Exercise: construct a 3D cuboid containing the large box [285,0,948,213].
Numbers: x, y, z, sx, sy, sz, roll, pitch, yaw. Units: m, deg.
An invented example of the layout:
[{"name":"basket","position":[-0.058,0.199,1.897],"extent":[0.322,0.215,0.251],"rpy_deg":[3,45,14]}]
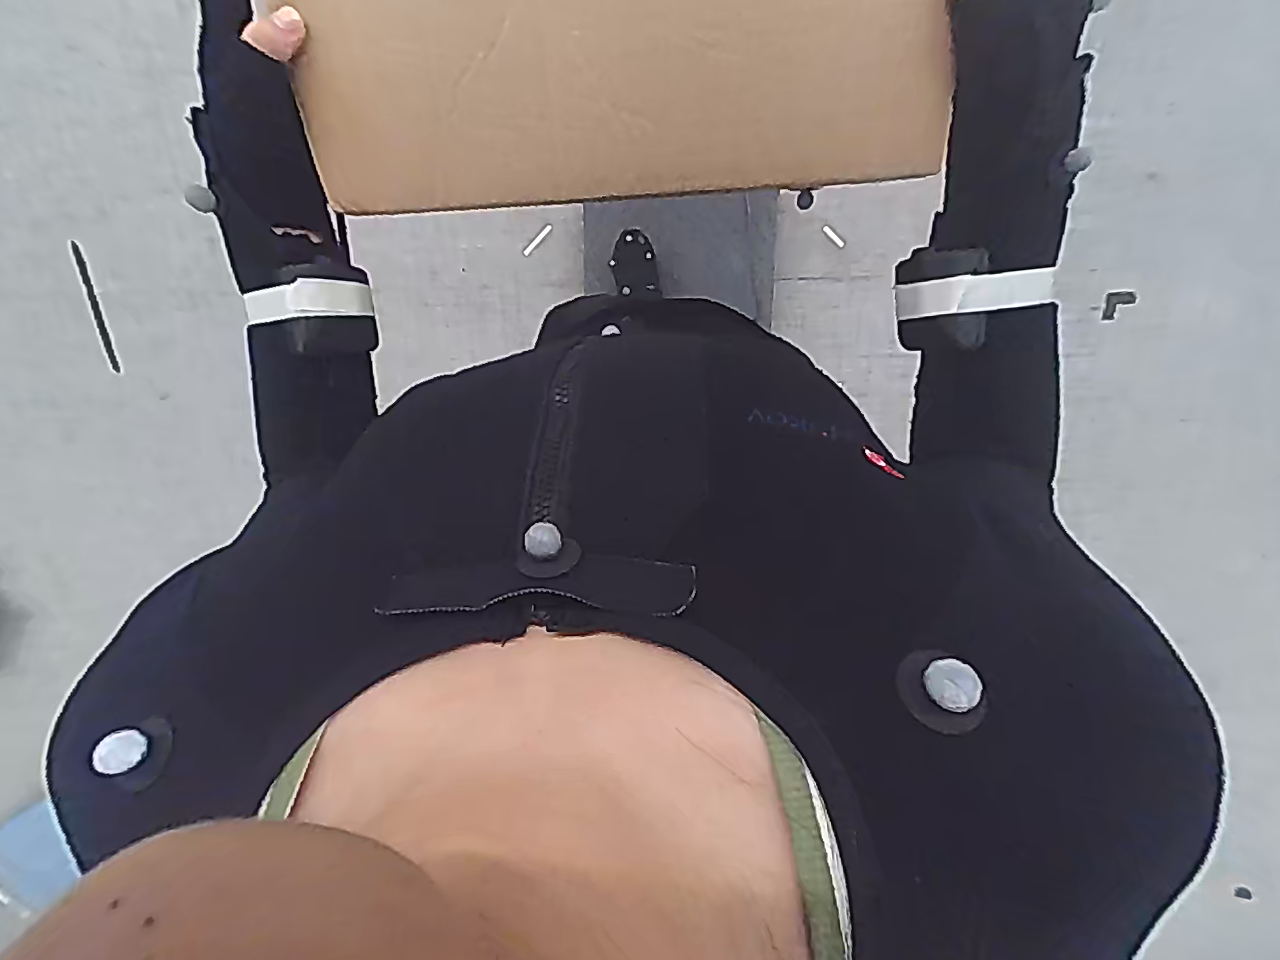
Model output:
[{"name":"large box","position":[-0.010,-0.406,0.427],"extent":[0.408,0.320,0.320],"rpy_deg":[-1,118,6]}]
